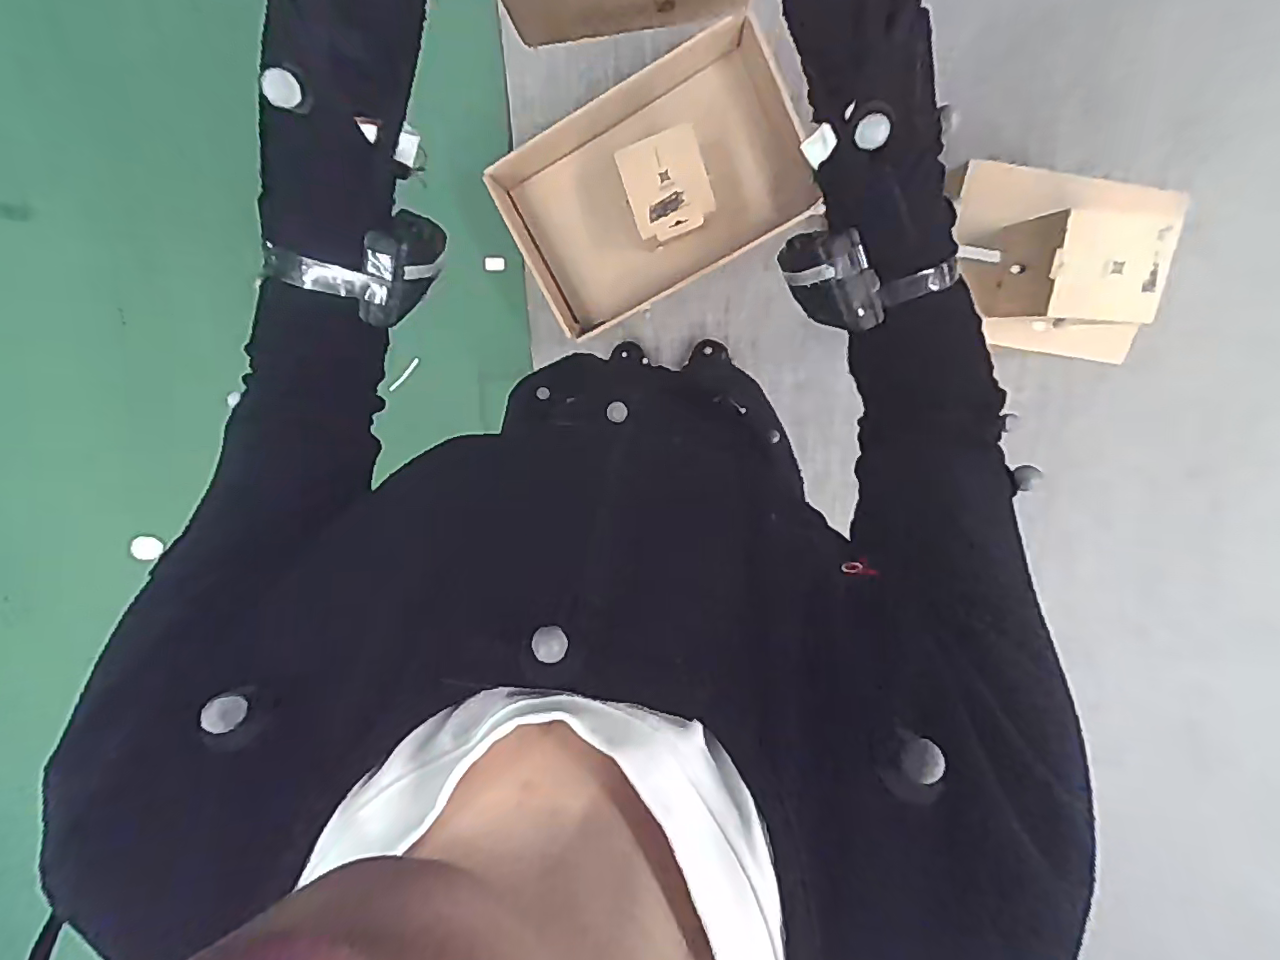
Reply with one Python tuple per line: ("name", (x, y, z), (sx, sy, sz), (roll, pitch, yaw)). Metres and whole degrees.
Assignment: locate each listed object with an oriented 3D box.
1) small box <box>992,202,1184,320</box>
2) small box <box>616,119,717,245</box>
("small box", (0.751, -0.367, 0.932), (0.179, 0.176, 0.168), (4, 106, 2))
("small box", (0.061, -0.626, 1.167), (0.168, 0.176, 0.179), (-18, 102, 8))
